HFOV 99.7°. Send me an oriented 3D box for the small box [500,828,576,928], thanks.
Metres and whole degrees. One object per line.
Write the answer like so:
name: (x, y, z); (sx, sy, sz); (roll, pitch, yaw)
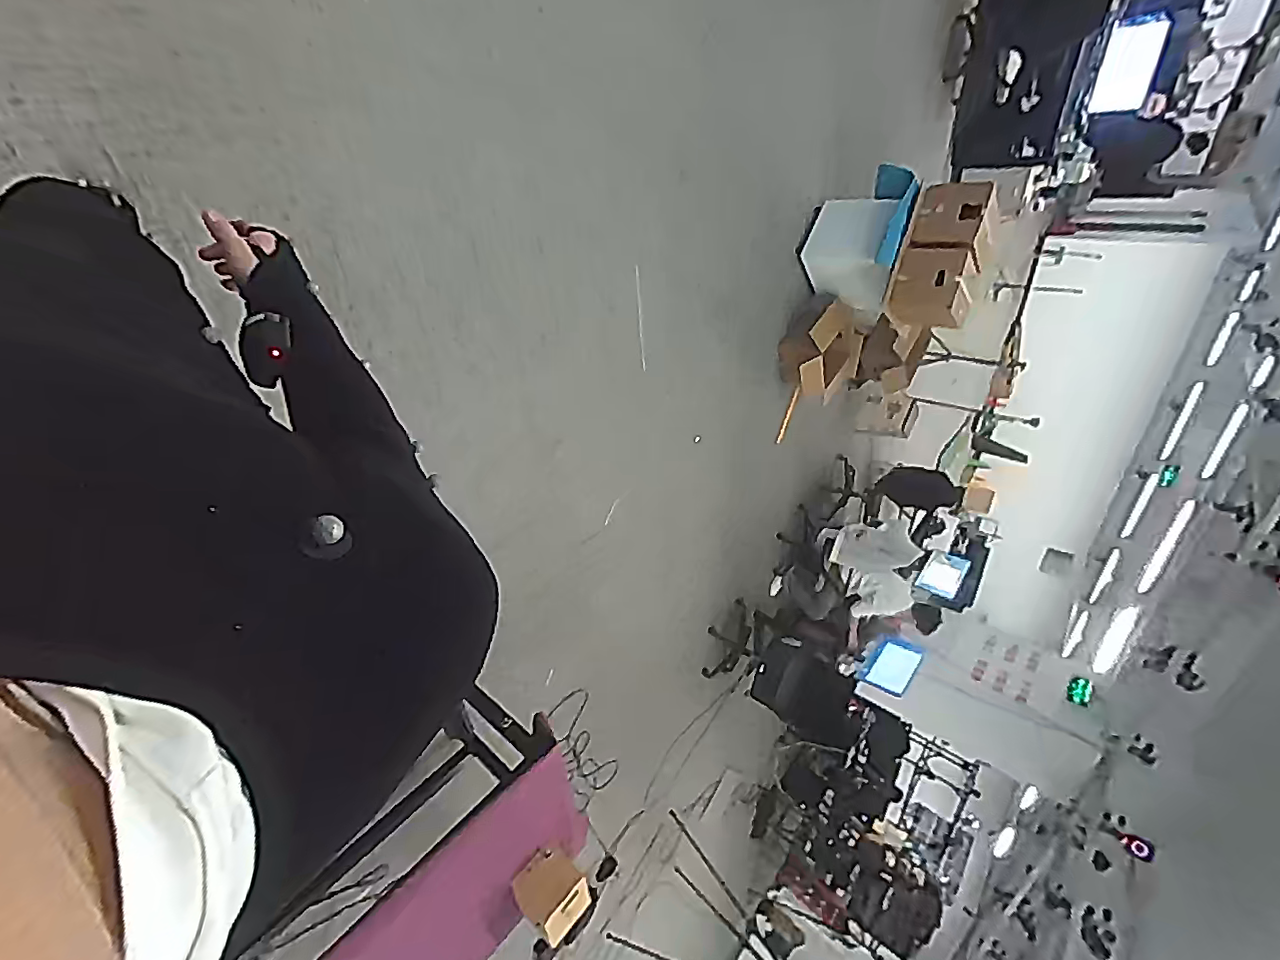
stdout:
small box: (-0.332, 1.278, 1.750); (0.168, 0.176, 0.179); (-32, 132, -39)
